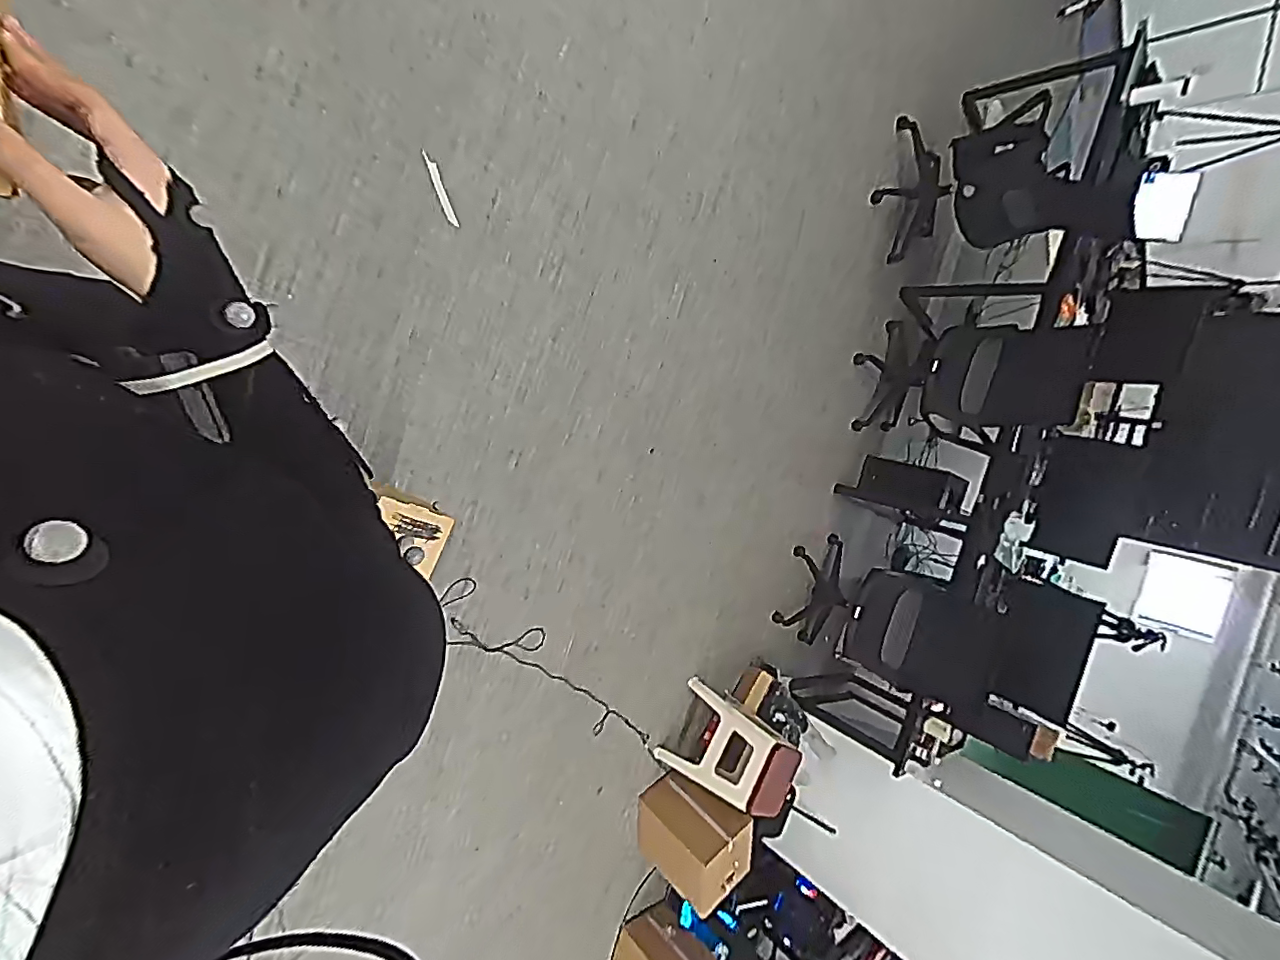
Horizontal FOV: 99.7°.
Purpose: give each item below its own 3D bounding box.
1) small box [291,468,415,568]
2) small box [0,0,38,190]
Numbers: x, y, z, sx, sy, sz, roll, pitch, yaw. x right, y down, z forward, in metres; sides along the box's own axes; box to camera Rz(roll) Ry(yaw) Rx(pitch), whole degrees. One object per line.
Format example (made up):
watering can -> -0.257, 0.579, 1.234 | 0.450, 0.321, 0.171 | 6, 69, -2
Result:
small box -> -0.657, 0.083, 1.237 | 0.179, 0.176, 0.168 | 28, 81, -44
small box -> -0.384, -0.254, 0.227 | 0.168, 0.176, 0.179 | -6, 124, -46
